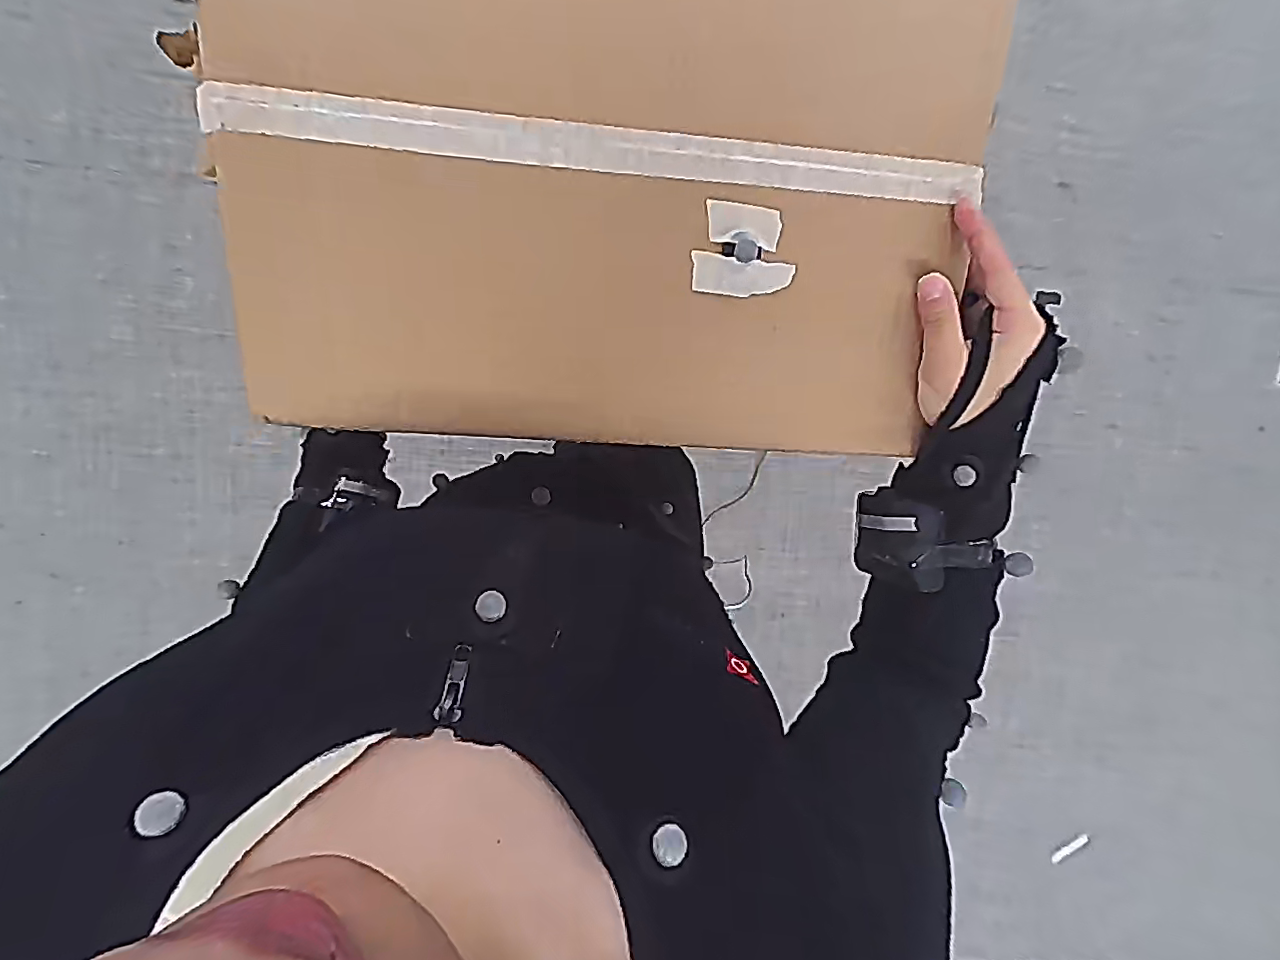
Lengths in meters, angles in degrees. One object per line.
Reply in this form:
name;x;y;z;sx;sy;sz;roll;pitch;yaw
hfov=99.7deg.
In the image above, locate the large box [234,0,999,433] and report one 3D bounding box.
large box;-0.022;-0.219;0.440;0.408;0.320;0.320;2;106;-8
